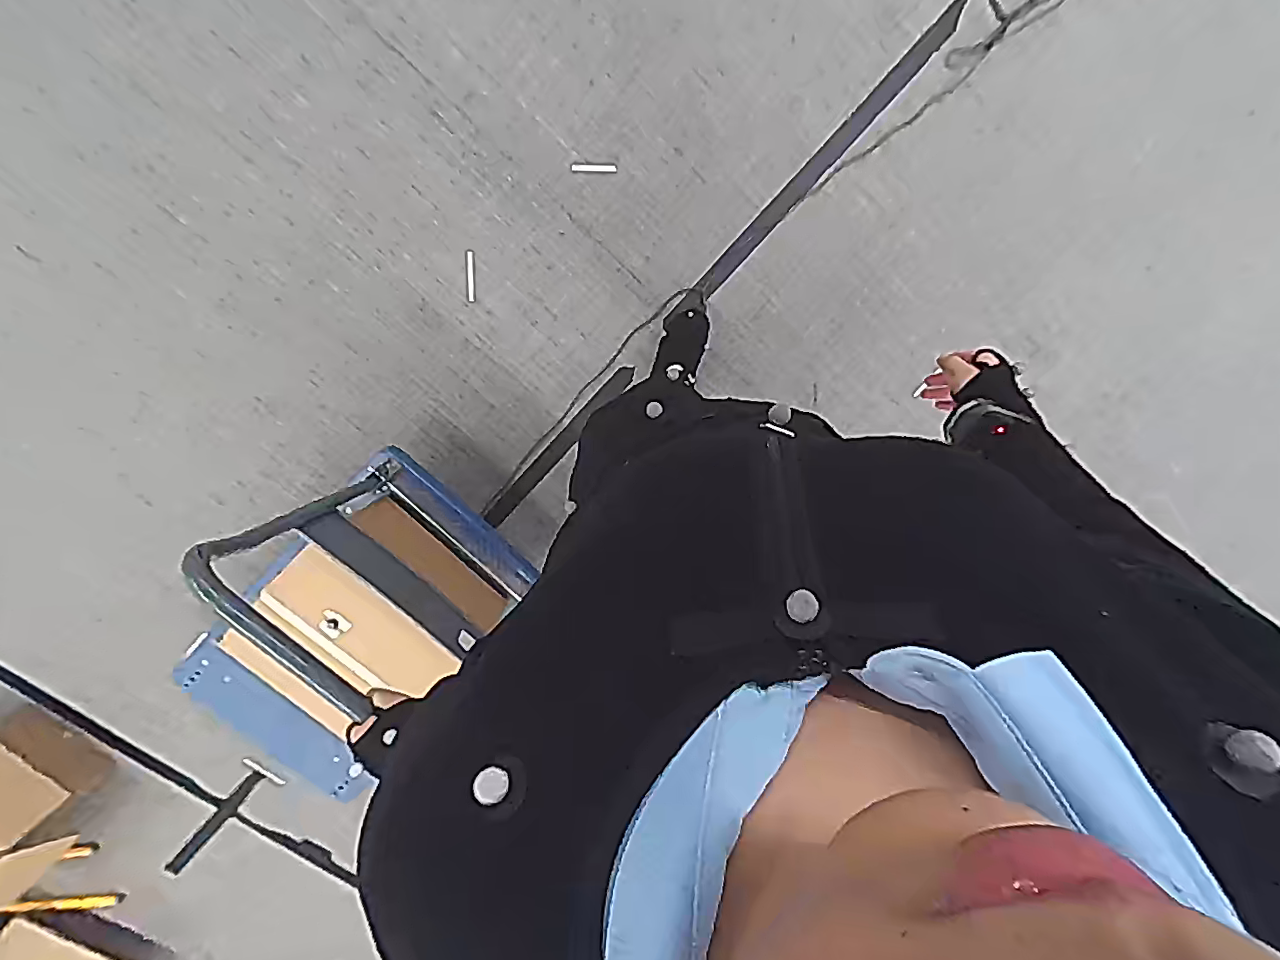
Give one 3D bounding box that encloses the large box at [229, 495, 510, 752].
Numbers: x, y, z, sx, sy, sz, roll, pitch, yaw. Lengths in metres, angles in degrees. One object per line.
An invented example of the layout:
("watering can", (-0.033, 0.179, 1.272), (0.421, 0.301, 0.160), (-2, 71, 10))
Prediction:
("large box", (-0.567, 0.303, 1.219), (0.320, 0.320, 0.408), (-44, 100, 8))
